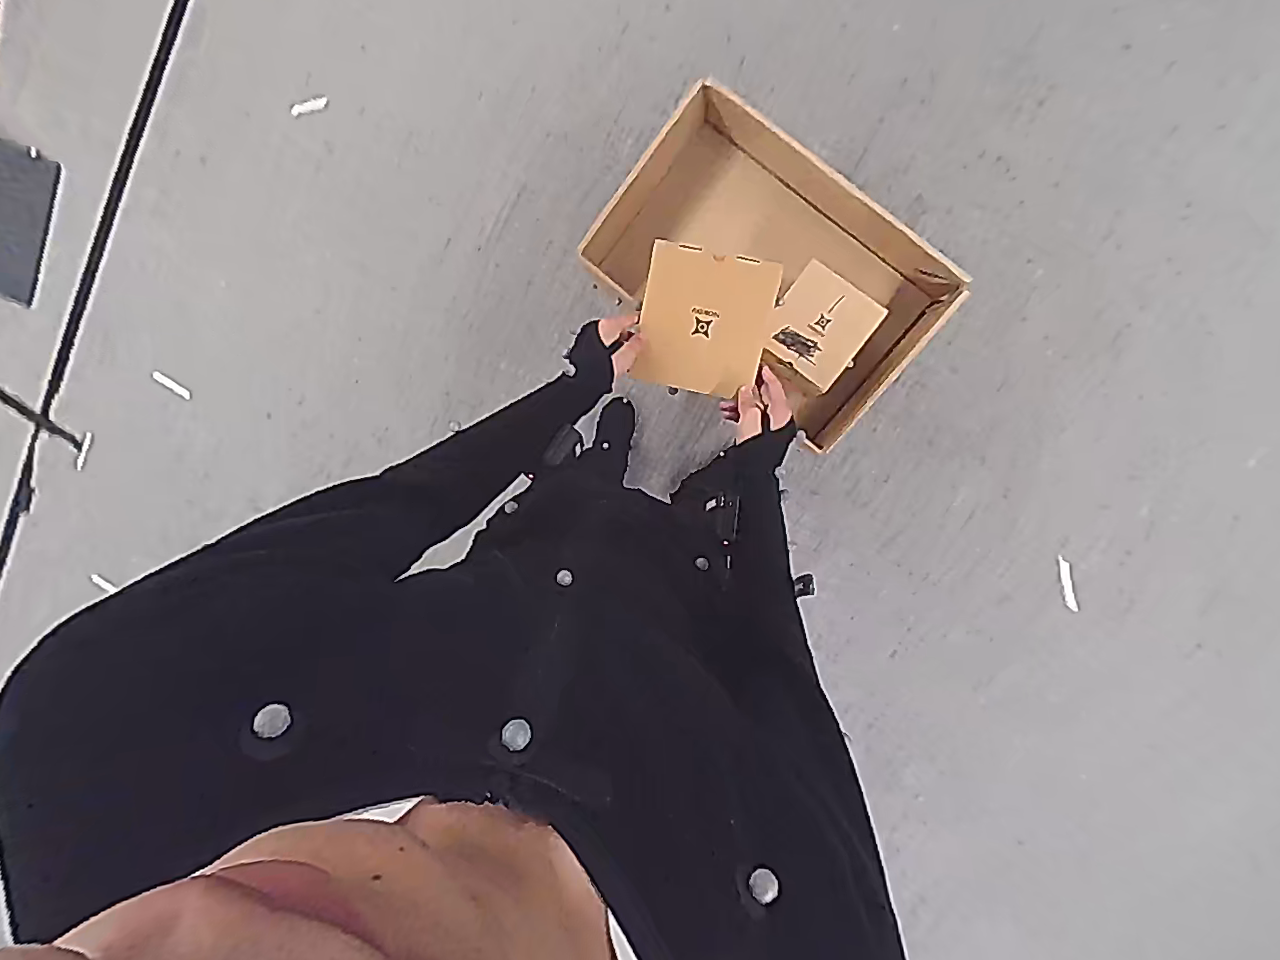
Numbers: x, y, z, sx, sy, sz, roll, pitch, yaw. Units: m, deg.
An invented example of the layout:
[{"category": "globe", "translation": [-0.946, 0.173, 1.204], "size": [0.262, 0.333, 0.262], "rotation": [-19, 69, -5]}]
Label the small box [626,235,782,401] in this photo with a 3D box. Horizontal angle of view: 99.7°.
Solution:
[{"category": "small box", "translation": [0.086, -0.217, 0.753], "size": [0.168, 0.176, 0.179], "rotation": [12, 103, 3]}]

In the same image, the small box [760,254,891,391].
[{"category": "small box", "translation": [0.330, -0.283, 1.021], "size": [0.168, 0.176, 0.179], "rotation": [37, 99, 3]}]
